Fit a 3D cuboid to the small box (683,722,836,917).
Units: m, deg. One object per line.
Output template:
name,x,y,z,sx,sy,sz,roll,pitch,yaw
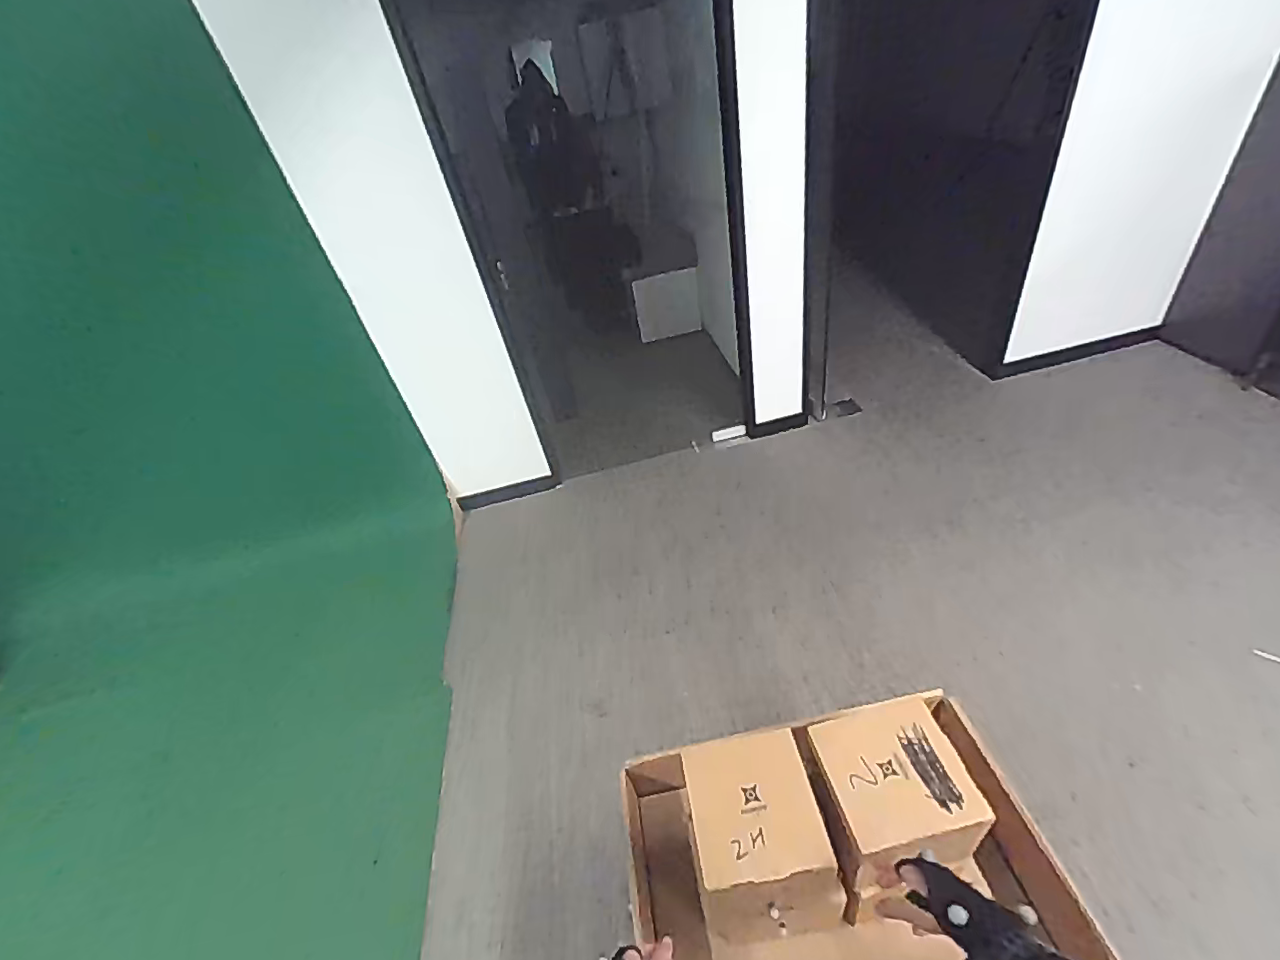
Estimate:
small box,0.162,0.481,0.769,0.168,0.176,0.179,-12,39,1
